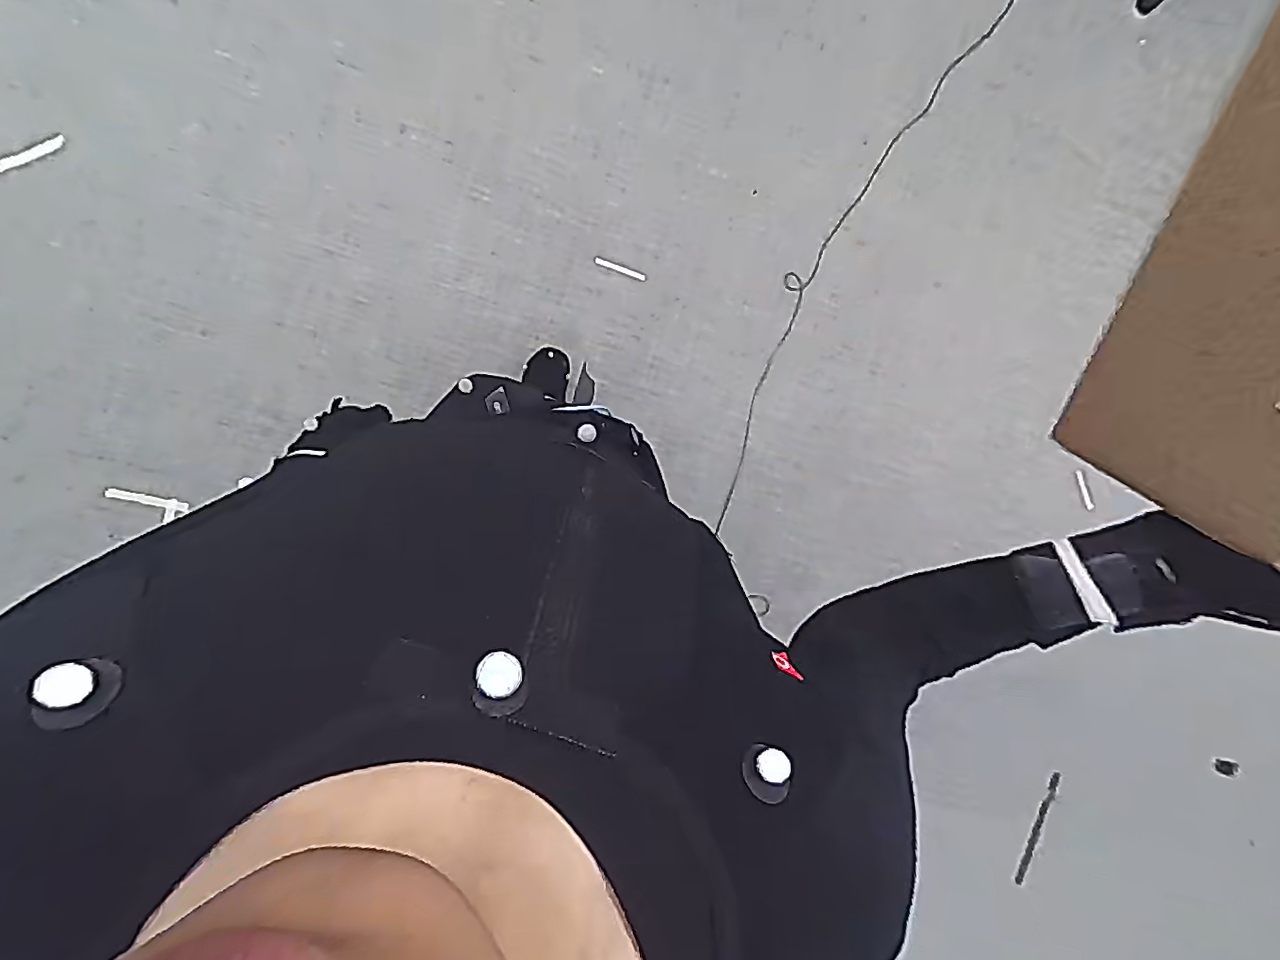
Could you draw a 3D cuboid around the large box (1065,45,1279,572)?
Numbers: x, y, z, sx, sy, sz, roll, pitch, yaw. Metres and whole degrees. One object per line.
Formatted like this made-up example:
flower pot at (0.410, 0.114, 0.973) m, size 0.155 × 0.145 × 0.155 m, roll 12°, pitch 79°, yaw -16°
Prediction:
large box at (0.486, -0.133, 0.202) m, size 0.320 × 0.320 × 0.408 m, roll -31°, pitch 143°, yaw -6°
